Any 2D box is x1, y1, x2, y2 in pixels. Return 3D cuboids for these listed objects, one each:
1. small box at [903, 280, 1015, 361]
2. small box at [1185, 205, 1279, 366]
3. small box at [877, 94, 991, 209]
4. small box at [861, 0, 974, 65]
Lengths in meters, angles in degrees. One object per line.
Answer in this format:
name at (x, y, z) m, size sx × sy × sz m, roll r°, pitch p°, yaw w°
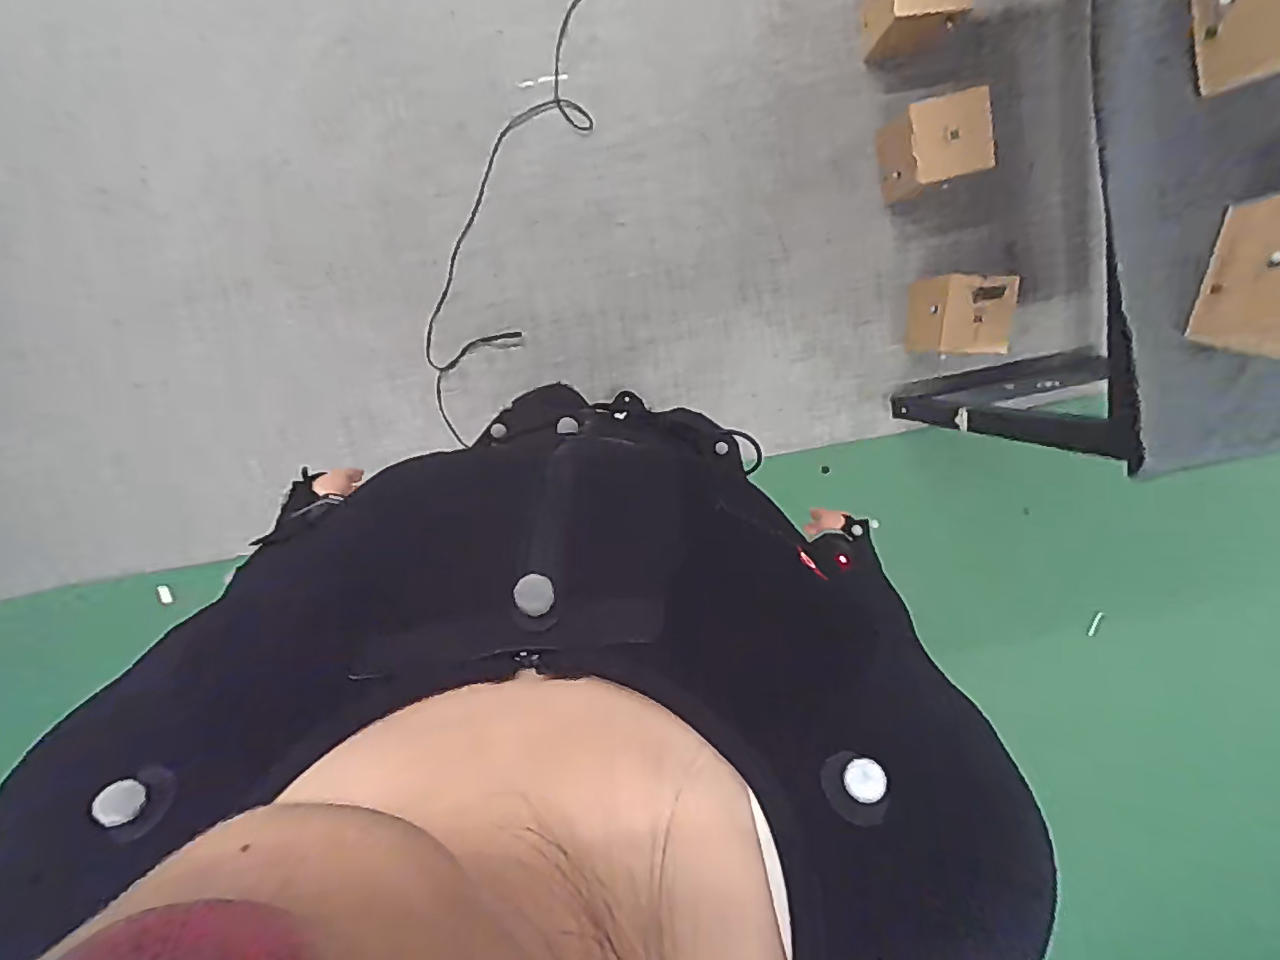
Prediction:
small box at (0.779, -0.388, 1.338) m, size 0.168 × 0.176 × 0.179 m, roll 2°, pitch 103°, yaw -2°
small box at (0.810, -0.226, 0.626) m, size 0.179 × 0.176 × 0.168 m, roll 9°, pitch 101°, yaw -6°
small box at (0.674, -0.754, 1.260) m, size 0.179 × 0.176 × 0.168 m, roll -13°, pitch 102°, yaw 0°
small box at (0.603, -1.058, 1.197) m, size 0.179 × 0.176 × 0.168 m, roll -7°, pitch 101°, yaw -1°
